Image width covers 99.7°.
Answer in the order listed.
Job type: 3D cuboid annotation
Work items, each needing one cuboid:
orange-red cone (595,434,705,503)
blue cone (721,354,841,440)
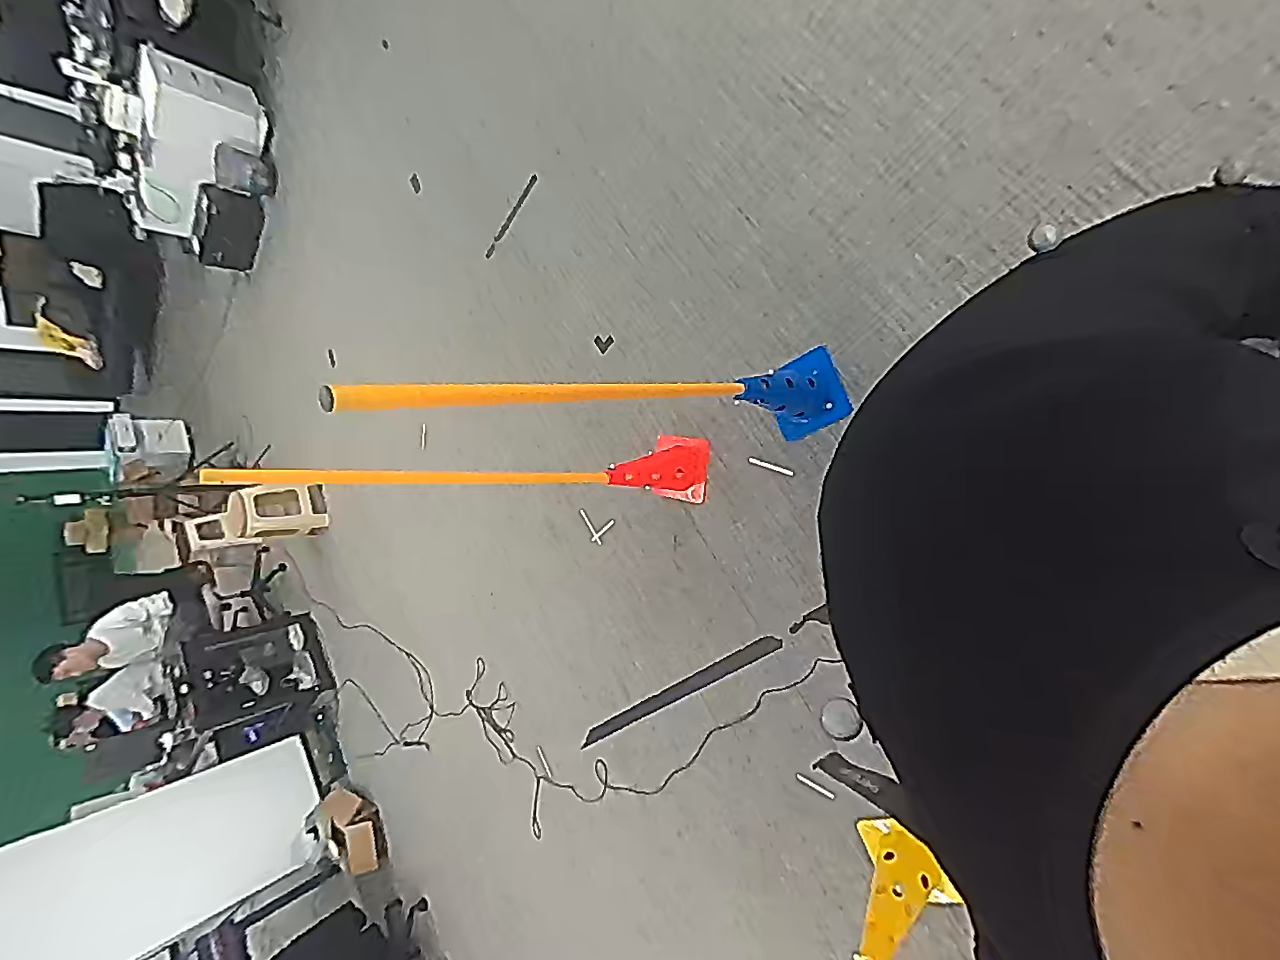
[{"bbox_3d":[0.007,-0.022,1.559,0.199,0.360,0.198,13,104,37],"label":"orange-red cone"},{"bbox_3d":[0.317,-0.206,1.301,0.192,0.380,0.193,-26,78,39],"label":"blue cone"}]
